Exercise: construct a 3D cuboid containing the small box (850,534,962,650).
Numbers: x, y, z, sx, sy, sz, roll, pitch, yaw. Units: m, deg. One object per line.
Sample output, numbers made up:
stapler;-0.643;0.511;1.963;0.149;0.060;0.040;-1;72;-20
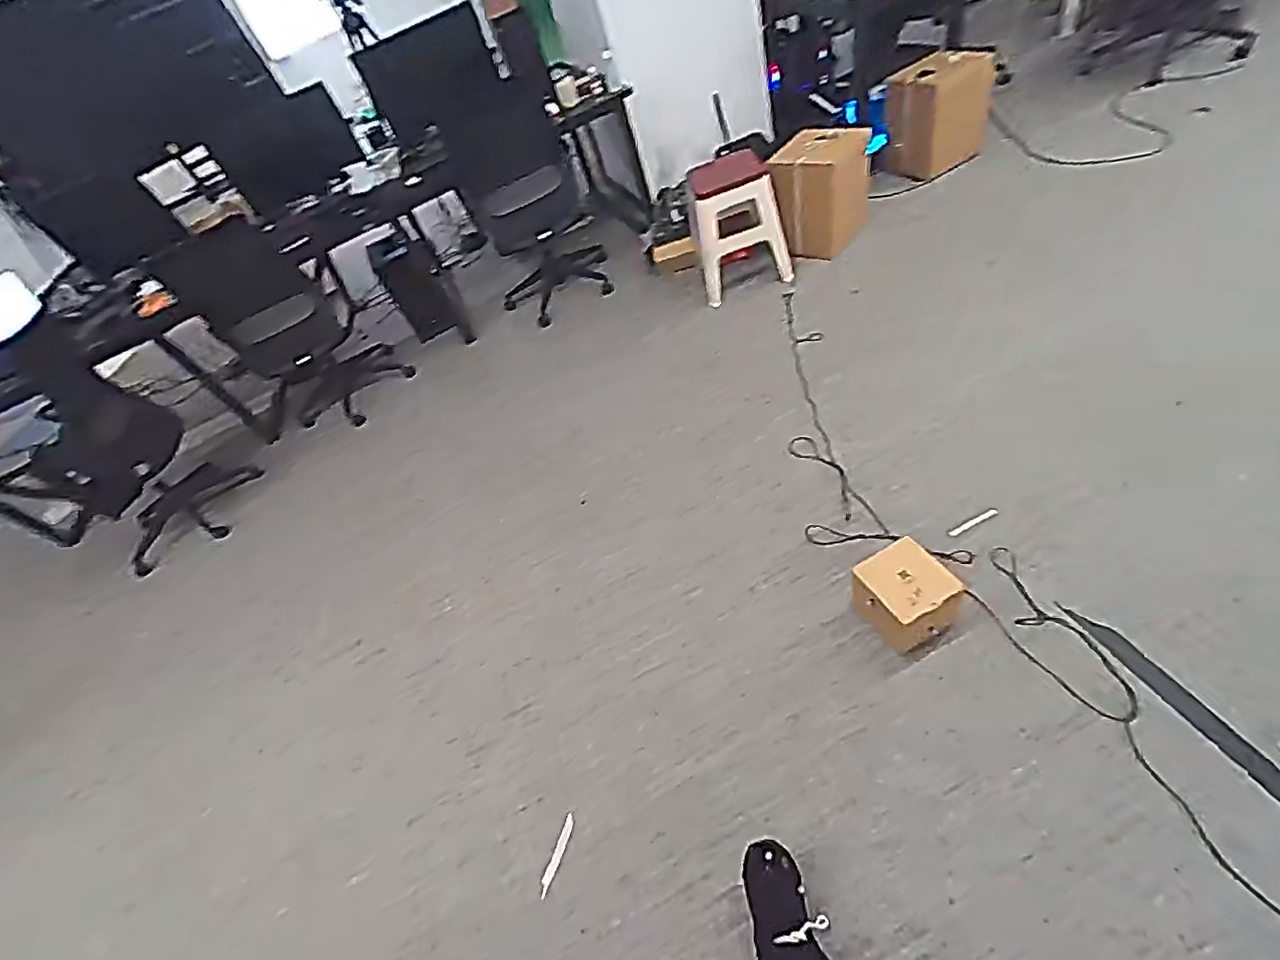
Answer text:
small box;0.624;0.269;1.289;0.168;0.176;0.179;-31;47;-4
